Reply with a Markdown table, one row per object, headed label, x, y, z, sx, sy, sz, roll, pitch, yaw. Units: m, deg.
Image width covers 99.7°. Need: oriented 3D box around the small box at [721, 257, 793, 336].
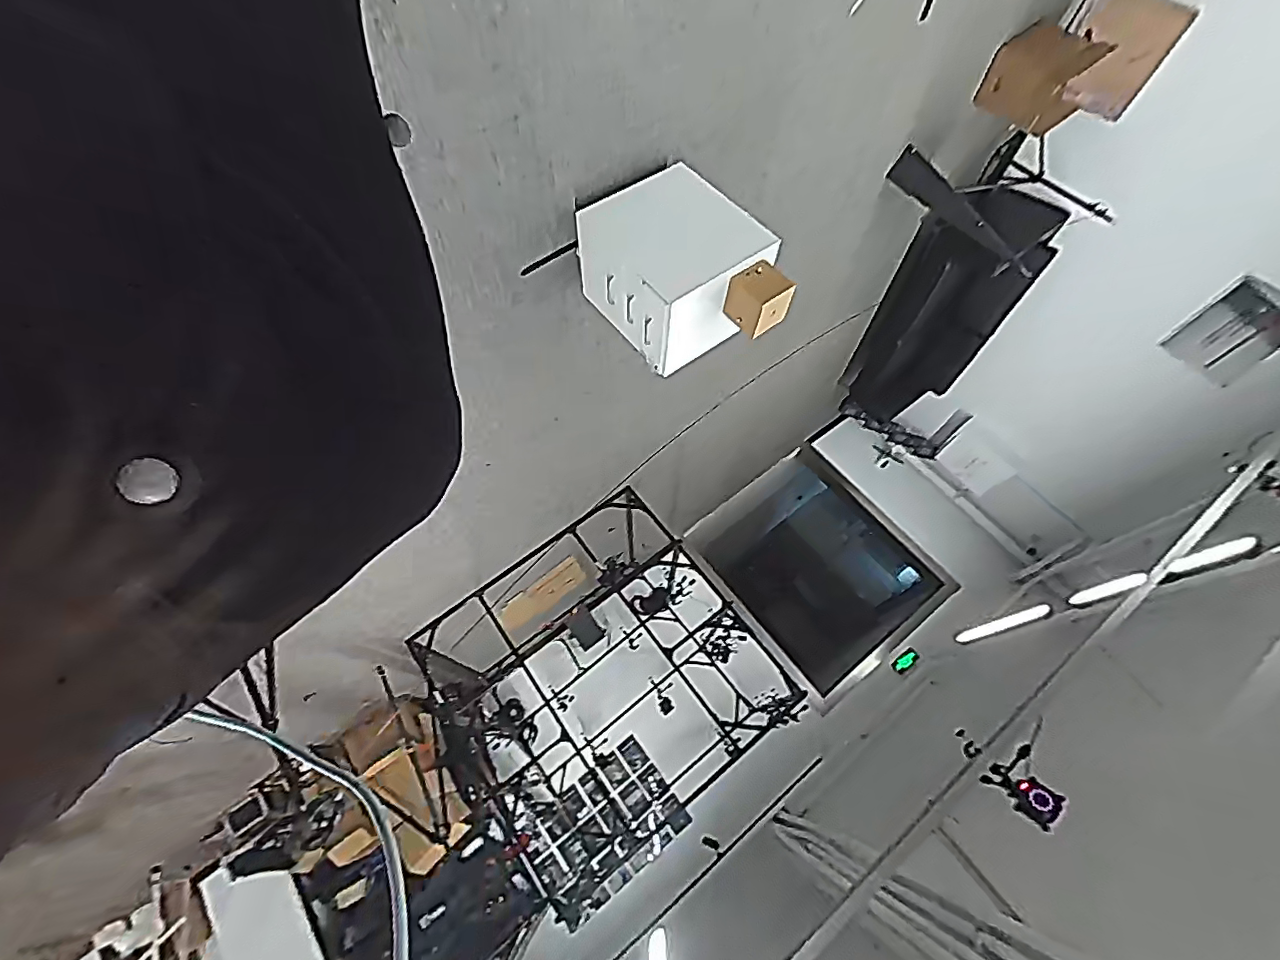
| label | x | y | z | sx | sy | sz | roll | pitch | yaw |
| --- | --- | --- | --- | --- | --- | --- | --- | --- | --- |
| small box | 0.414 | -0.666 | 1.955 | 0.168 | 0.176 | 0.179 | -35 | 160 | -18 |
